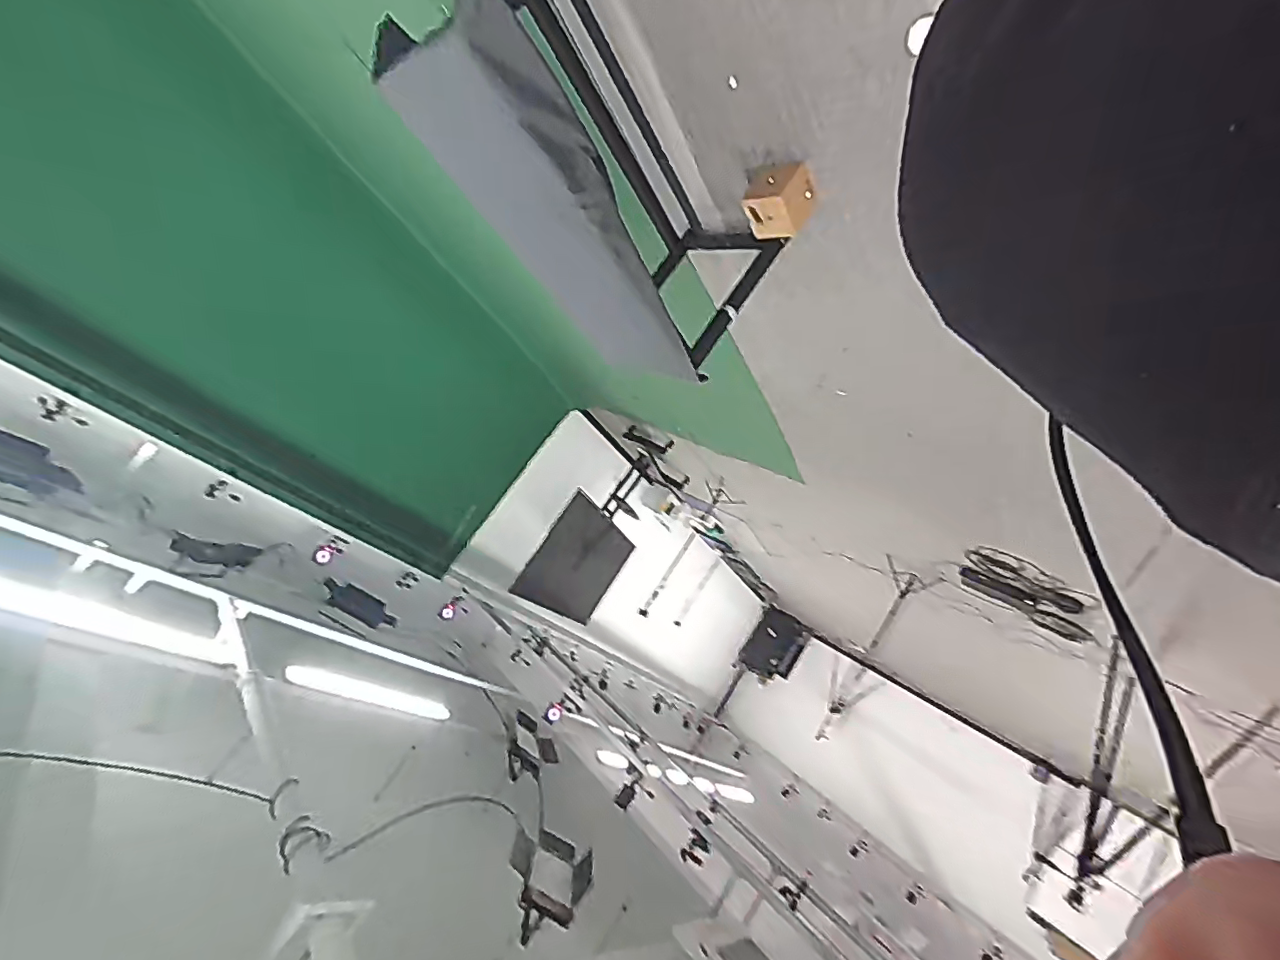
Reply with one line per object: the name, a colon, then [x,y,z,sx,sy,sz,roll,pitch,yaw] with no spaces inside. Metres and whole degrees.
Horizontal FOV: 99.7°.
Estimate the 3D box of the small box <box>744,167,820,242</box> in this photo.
small box: [0.504,-0.971,1.912,0.179,0.176,0.168,23,164,45]
